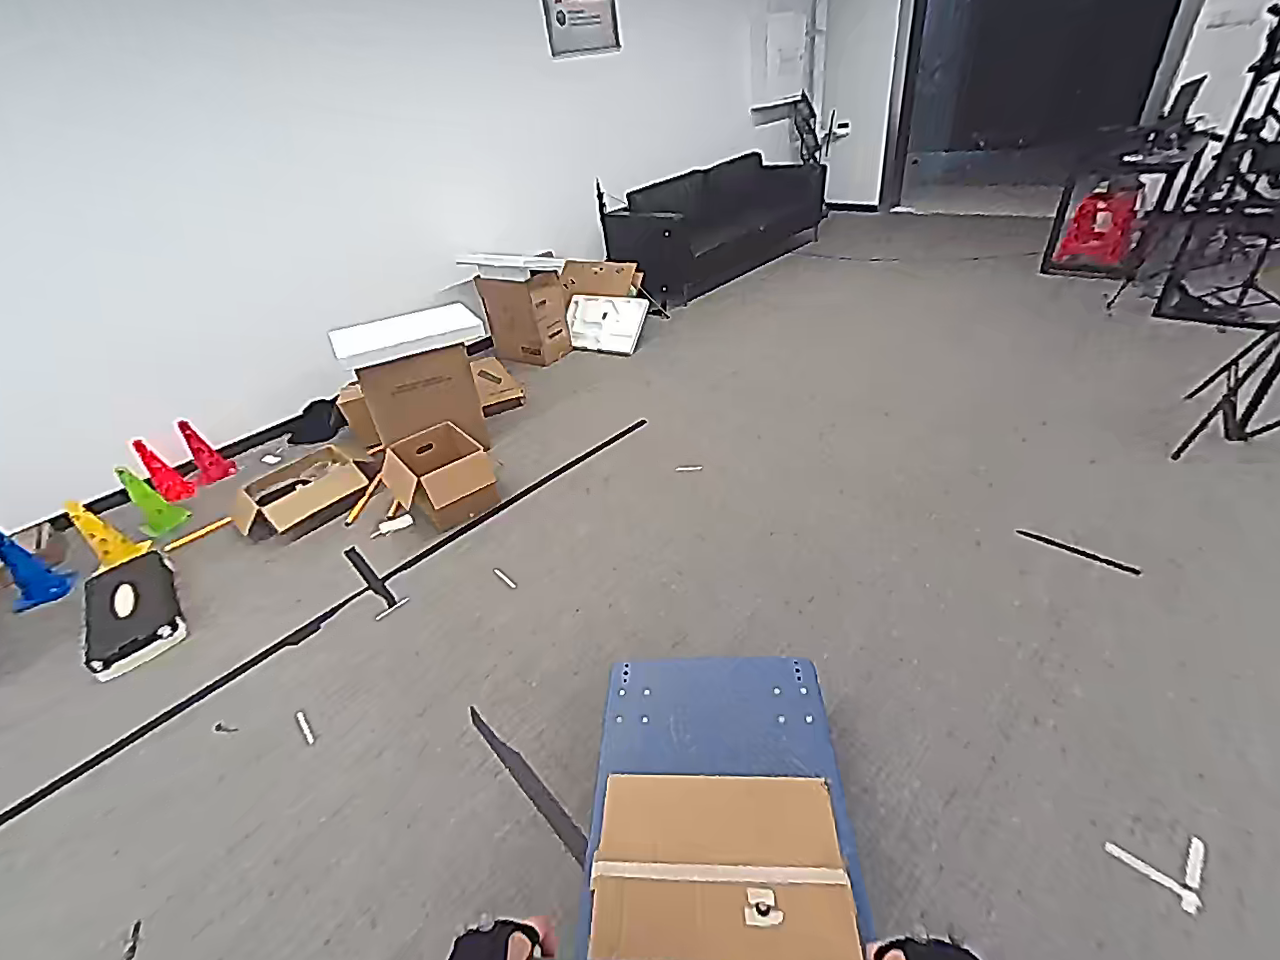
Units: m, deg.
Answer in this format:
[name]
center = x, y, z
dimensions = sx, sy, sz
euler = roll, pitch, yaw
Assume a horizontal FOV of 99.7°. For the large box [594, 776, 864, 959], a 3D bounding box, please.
[large box]
center = 0.145, 0.765, 0.972
dimensions = 0.408, 0.320, 0.320
euler = -2, 36, 6
